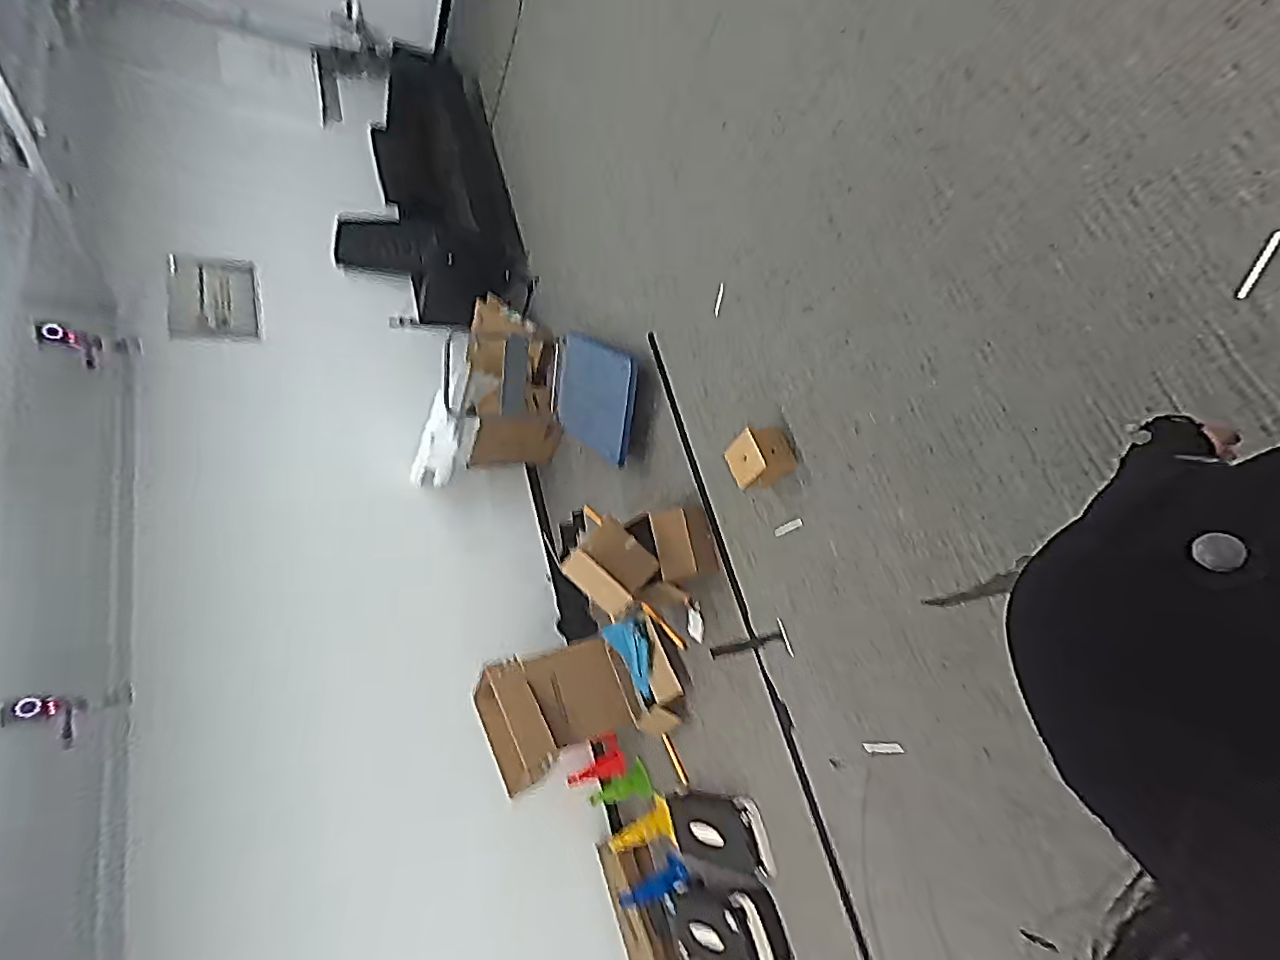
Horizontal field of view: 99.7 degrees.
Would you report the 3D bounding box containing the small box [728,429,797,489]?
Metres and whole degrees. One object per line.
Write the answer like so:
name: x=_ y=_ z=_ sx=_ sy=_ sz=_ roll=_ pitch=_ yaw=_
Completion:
small box: x=0.472 y=-0.083 z=2.061 sx=0.179 sy=0.176 sz=0.168 roll=-53 pitch=51 yaw=49
